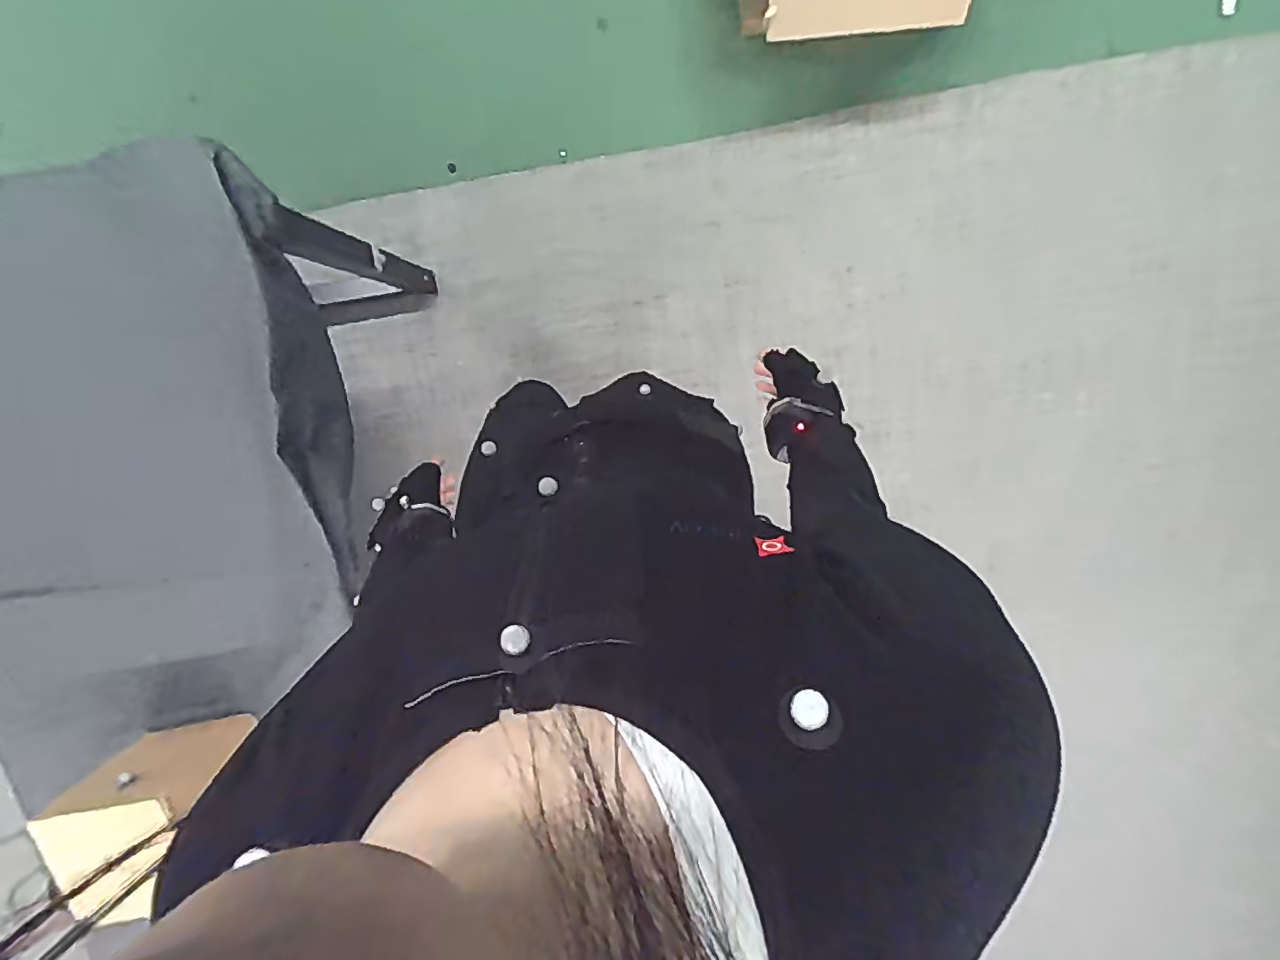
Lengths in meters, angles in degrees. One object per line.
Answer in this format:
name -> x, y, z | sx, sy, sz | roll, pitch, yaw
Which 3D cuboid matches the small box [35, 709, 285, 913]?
small box -> -0.657, 0.454, 0.764 | 0.179, 0.176, 0.168 | -11, 101, 2
